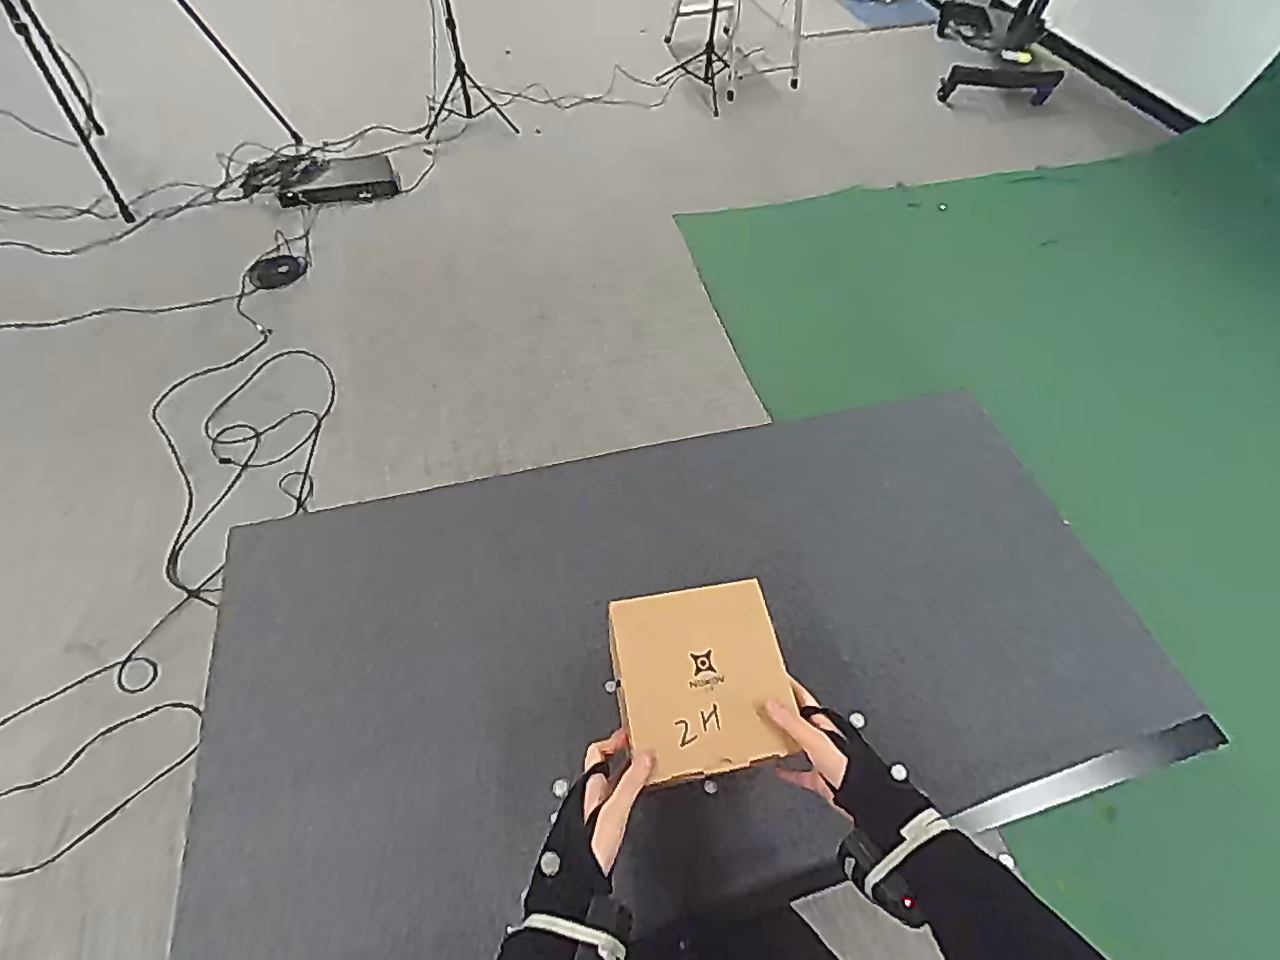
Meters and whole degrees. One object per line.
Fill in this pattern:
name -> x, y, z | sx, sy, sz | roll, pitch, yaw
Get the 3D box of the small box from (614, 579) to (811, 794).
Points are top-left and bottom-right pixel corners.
small box -> 0.063, 0.232, 0.602 | 0.168, 0.176, 0.179 | -8, 58, -7
